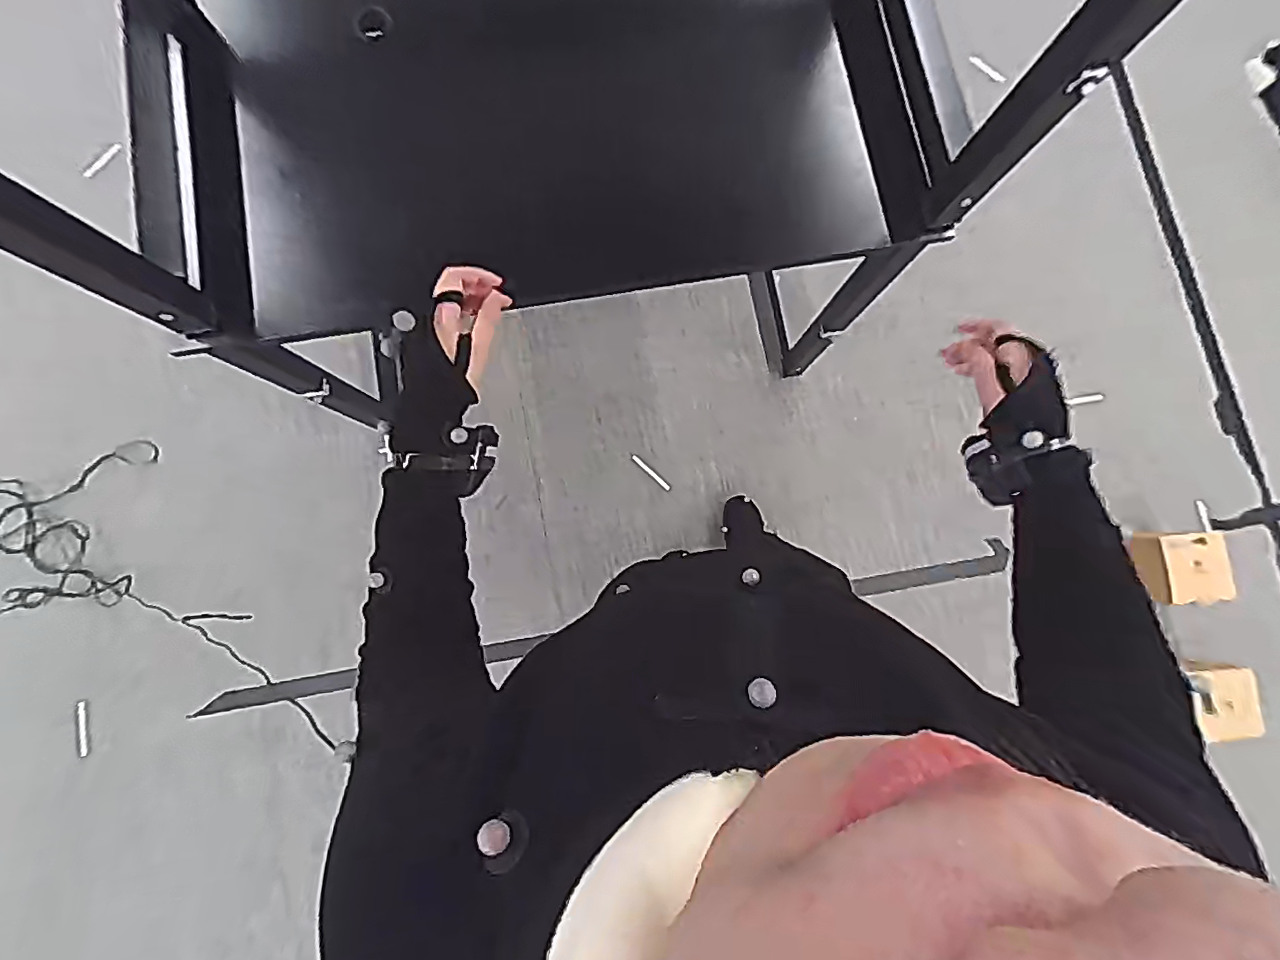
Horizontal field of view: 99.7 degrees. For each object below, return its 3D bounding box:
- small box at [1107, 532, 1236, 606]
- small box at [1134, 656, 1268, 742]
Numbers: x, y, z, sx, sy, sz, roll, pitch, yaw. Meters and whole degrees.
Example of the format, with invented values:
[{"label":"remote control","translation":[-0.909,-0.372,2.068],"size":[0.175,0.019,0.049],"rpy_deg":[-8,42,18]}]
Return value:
[{"label":"small box","translation":[1.405,0.232,1.441],"size":[0.168,0.176,0.179],"rpy_deg":[-5,84,-2]},{"label":"small box","translation":[1.437,0.560,1.403],"size":[0.179,0.176,0.168],"rpy_deg":[-4,84,-3]}]
